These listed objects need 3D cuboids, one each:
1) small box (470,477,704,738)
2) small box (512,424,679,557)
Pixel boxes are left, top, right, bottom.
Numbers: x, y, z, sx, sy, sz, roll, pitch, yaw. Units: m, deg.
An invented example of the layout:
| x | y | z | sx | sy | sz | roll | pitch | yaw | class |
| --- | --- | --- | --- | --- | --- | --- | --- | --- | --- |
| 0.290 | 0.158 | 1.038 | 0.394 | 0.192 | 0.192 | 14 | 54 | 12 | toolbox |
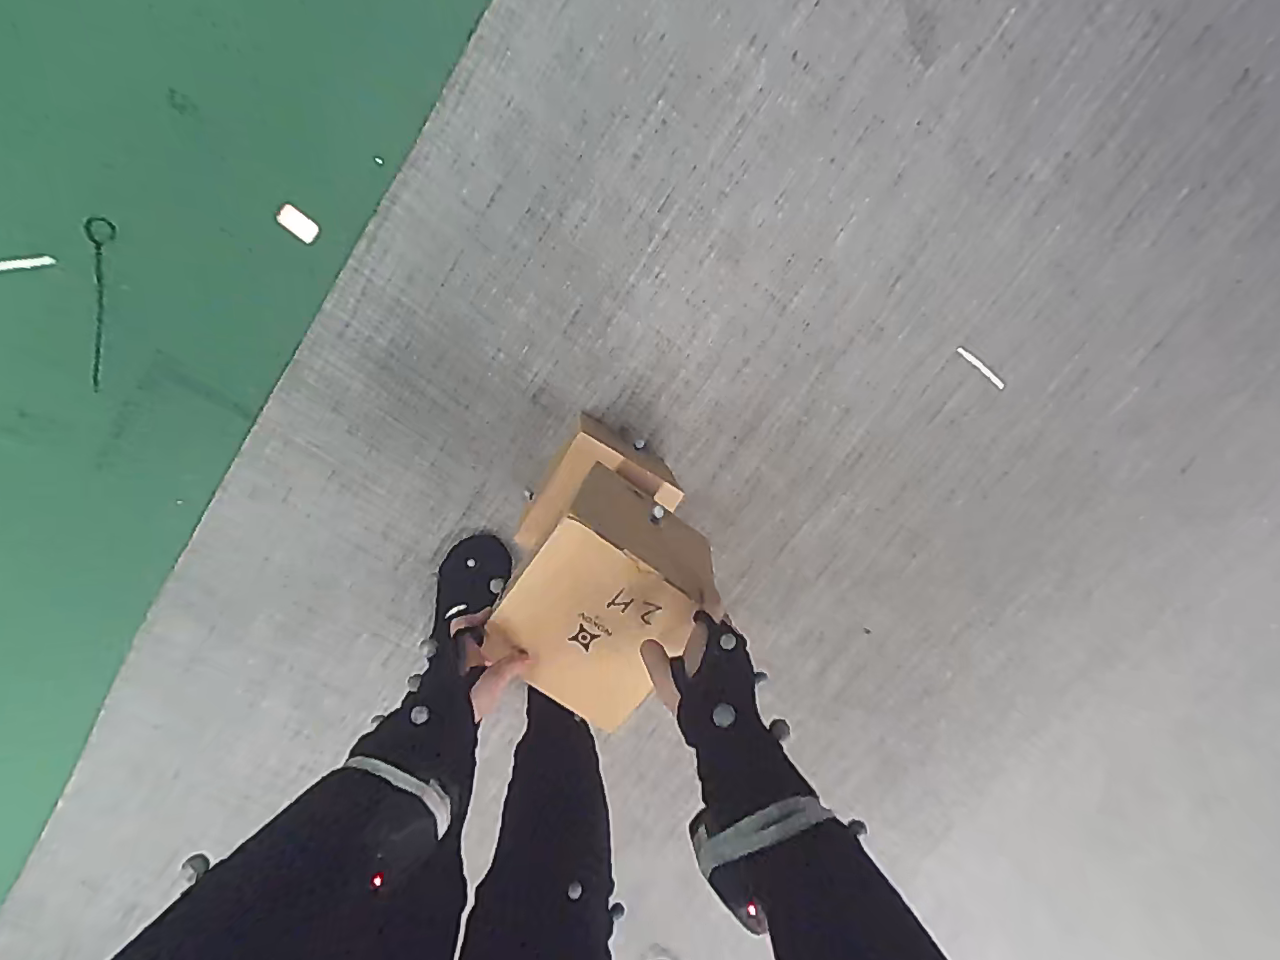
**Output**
| x | y | z | sx | sy | sz | roll | pitch | yaw | class |
| --- | --- | --- | --- | --- | --- | --- | --- | --- | --- |
| -0.046 | 0.125 | 0.585 | 0.168 | 0.176 | 0.179 | 35 | 106 | -7 | small box |
| -0.065 | 0.040 | 0.801 | 0.168 | 0.176 | 0.179 | 31 | 100 | -14 | small box |
